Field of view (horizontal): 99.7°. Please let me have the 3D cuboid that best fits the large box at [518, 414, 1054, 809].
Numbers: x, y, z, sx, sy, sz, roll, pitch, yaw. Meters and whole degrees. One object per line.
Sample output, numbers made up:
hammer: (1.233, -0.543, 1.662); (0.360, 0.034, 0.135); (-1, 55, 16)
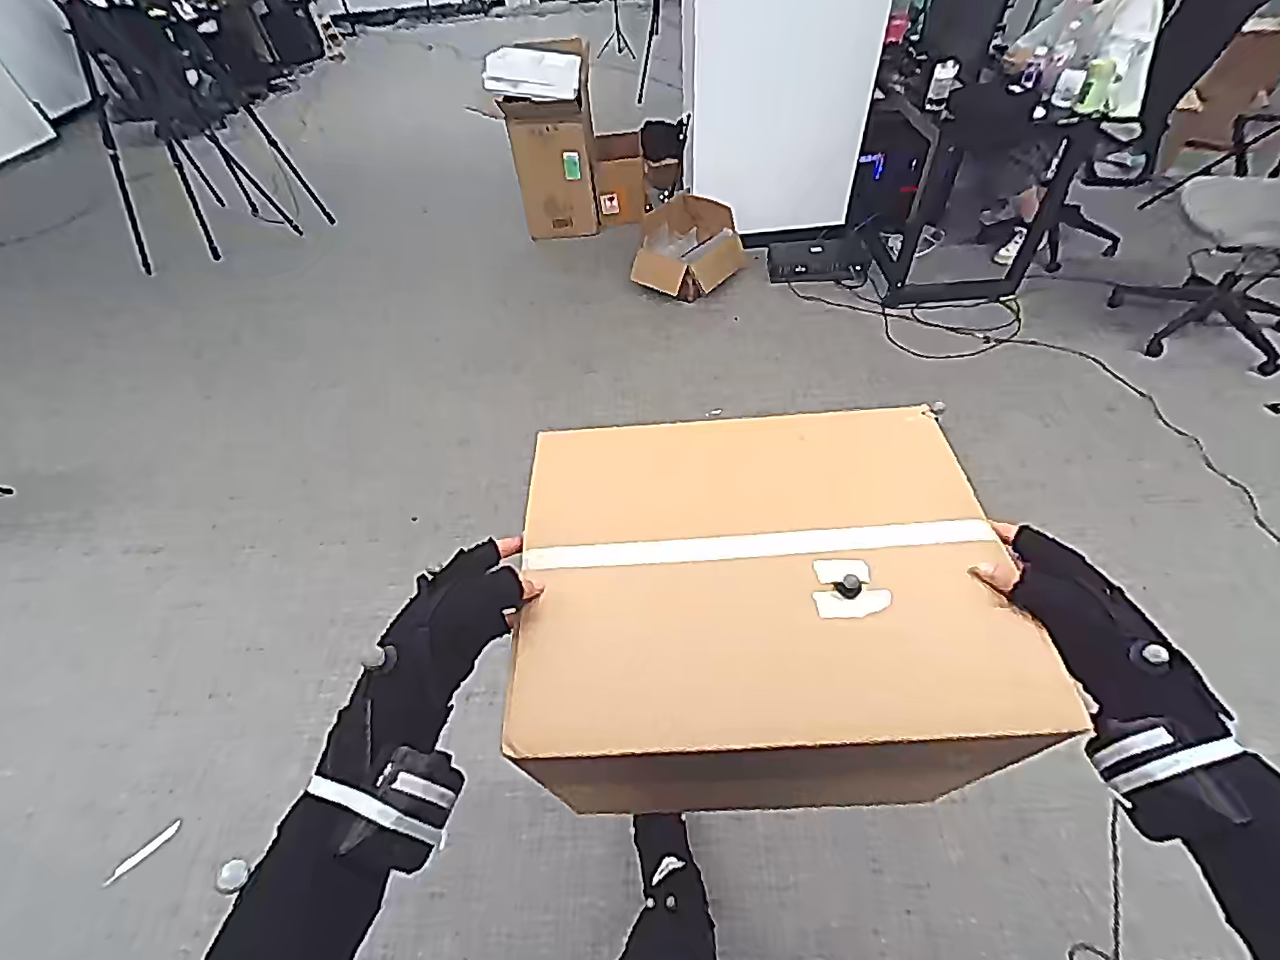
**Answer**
large box: (0.107, 0.156, 0.602); (0.408, 0.320, 0.320); (-4, 52, 2)
